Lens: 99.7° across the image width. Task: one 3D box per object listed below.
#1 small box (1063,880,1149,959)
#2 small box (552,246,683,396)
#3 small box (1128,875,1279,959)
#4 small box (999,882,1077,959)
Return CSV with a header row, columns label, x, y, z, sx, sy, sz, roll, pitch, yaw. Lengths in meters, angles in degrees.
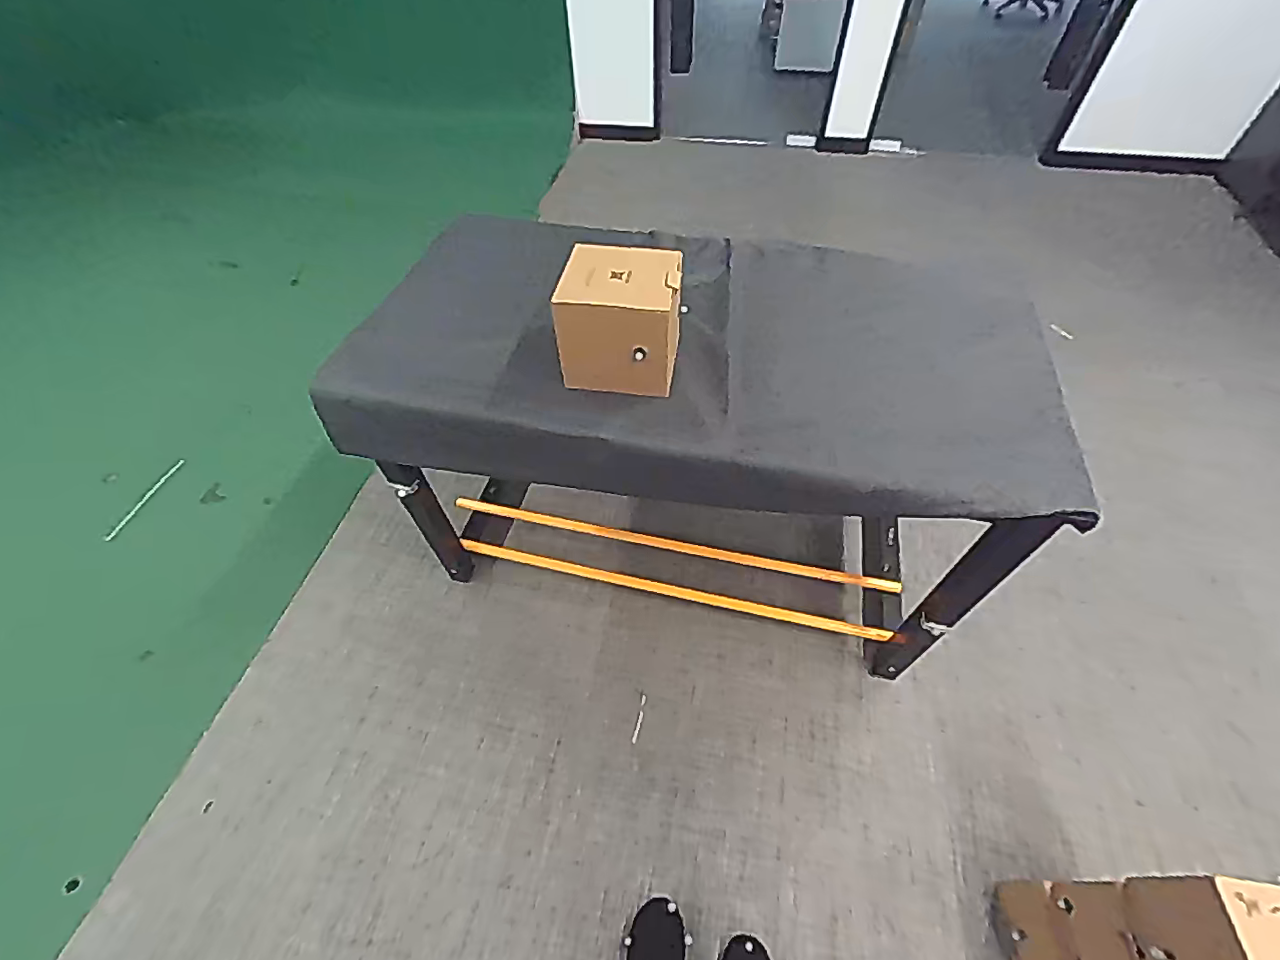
label,x,y,z,sx,sy,sz,roll,pitch,yaw
small box,0.784,0.718,0.811,0.179,0.176,0.168,6,53,5
small box,-0.027,-0.255,0.878,0.179,0.176,0.168,6,52,7
small box,0.784,0.619,0.681,0.168,0.176,0.179,6,54,6
small box,0.776,0.816,0.944,0.179,0.176,0.168,5,52,6
